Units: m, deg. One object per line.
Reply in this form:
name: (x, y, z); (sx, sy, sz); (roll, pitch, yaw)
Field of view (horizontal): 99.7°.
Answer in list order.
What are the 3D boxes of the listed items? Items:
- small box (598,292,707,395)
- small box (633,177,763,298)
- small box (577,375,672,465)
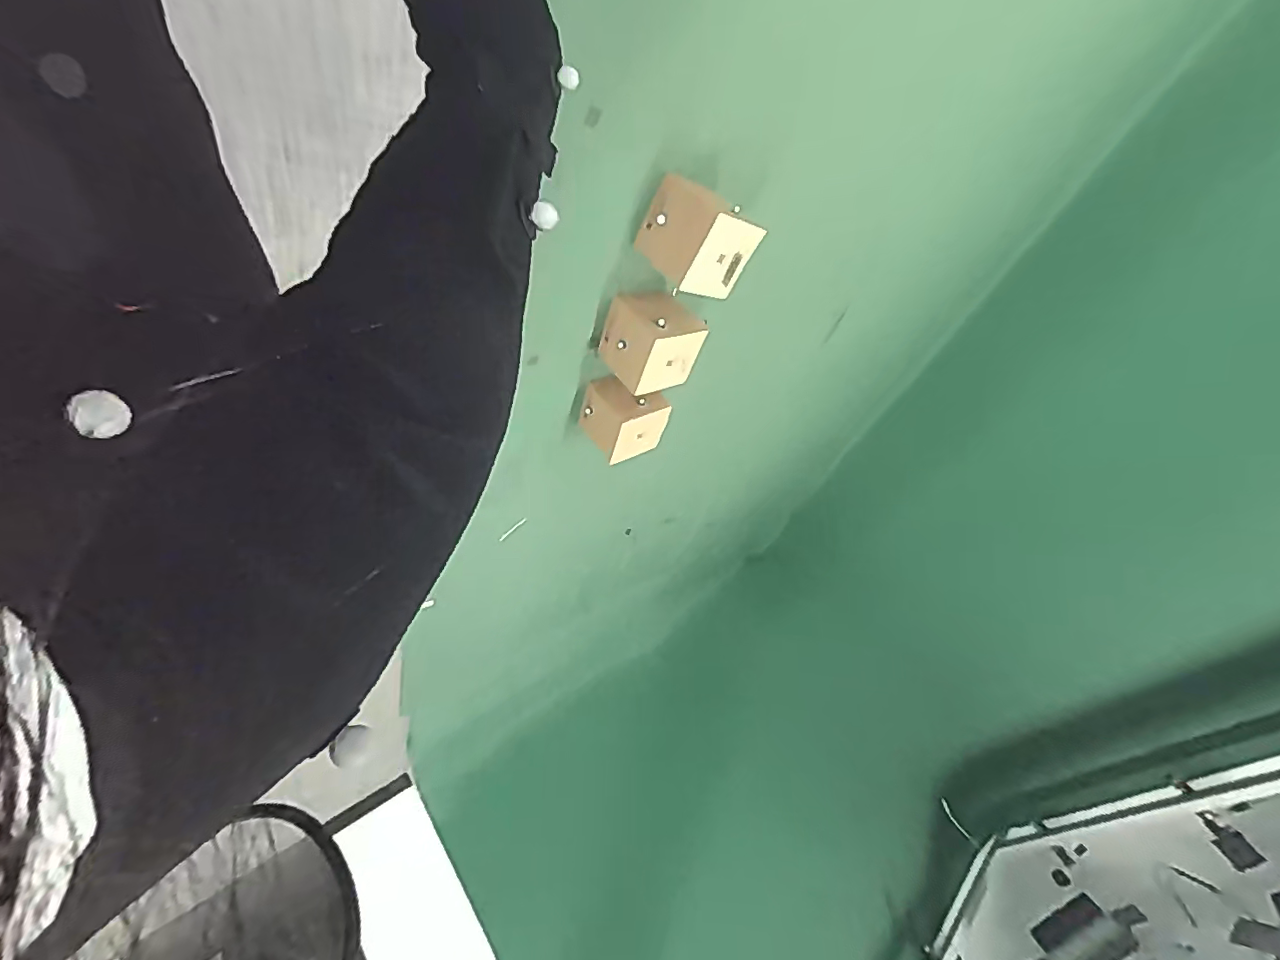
small box: (0.024, -0.336, 1.312); (0.179, 0.176, 0.168); (-22, 151, -37)
small box: (0.120, -0.512, 1.150); (0.179, 0.176, 0.168); (-12, 143, -47)
small box: (-0.047, -0.177, 1.489); (0.179, 0.176, 0.168); (-24, 151, -34)
